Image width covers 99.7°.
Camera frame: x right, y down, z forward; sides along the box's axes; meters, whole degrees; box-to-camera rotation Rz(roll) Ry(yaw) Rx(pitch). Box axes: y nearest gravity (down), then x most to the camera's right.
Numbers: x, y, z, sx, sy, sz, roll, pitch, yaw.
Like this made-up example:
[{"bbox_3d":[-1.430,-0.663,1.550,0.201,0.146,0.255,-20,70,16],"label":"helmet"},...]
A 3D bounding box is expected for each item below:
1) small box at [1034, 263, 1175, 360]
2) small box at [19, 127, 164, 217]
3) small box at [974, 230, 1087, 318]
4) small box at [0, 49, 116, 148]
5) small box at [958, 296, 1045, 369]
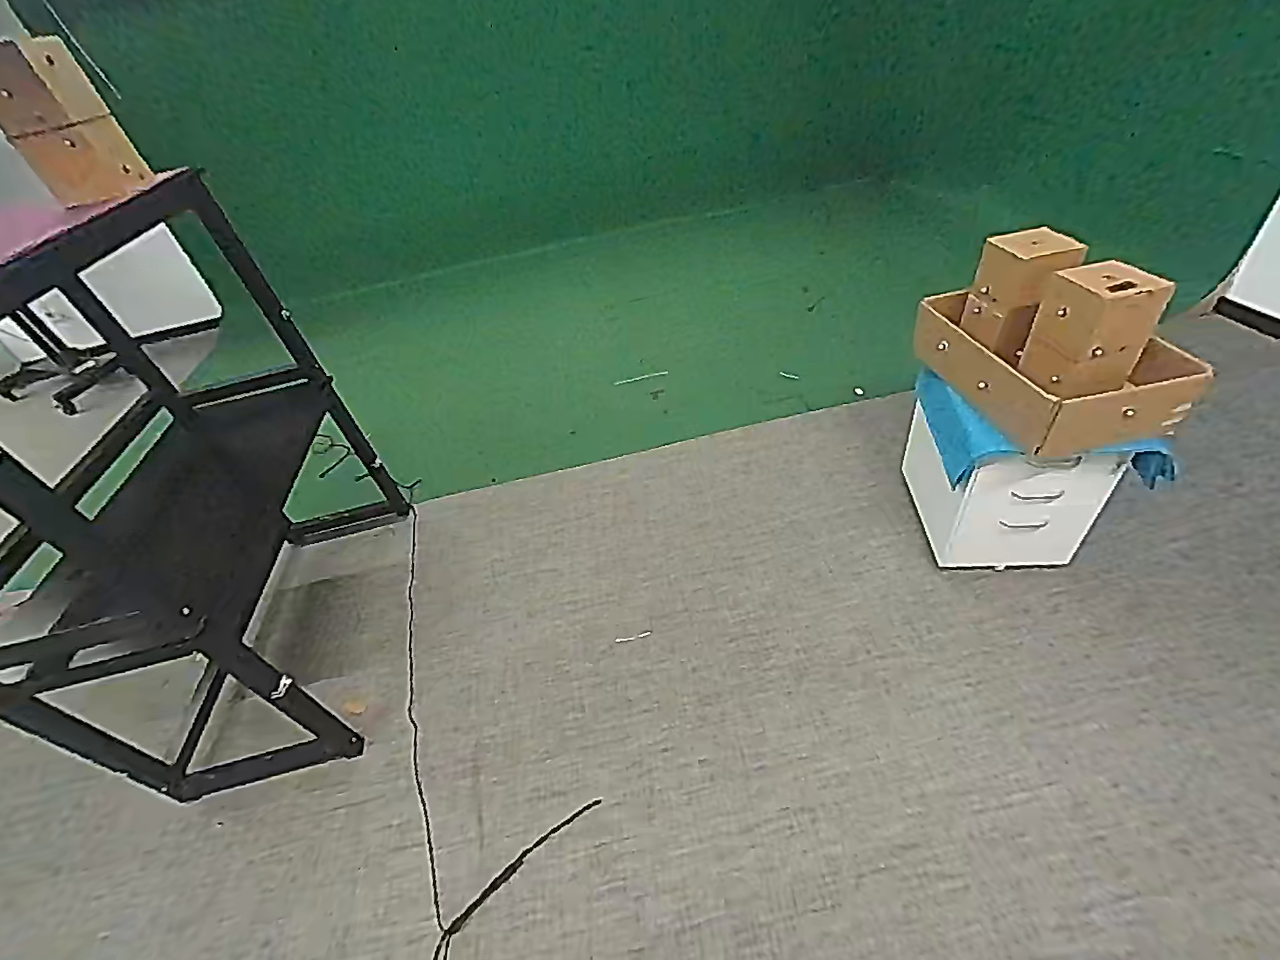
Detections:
[{"bbox_3d":[1.121,-0.406,1.323,0.168,0.176,0.179,-12,40,-2],"label":"small box"},{"bbox_3d":[-1.465,-0.828,1.459,0.179,0.176,0.168,-13,42,-2],"label":"small box"},{"bbox_3d":[1.087,-0.577,1.523,0.179,0.176,0.168,-12,42,-1],"label":"small box"},{"bbox_3d":[-1.483,-0.946,1.345,0.168,0.176,0.179,-13,42,-2],"label":"small box"},{"bbox_3d":[1.103,-0.456,1.631,0.179,0.176,0.168,-11,42,-2],"label":"small box"}]
